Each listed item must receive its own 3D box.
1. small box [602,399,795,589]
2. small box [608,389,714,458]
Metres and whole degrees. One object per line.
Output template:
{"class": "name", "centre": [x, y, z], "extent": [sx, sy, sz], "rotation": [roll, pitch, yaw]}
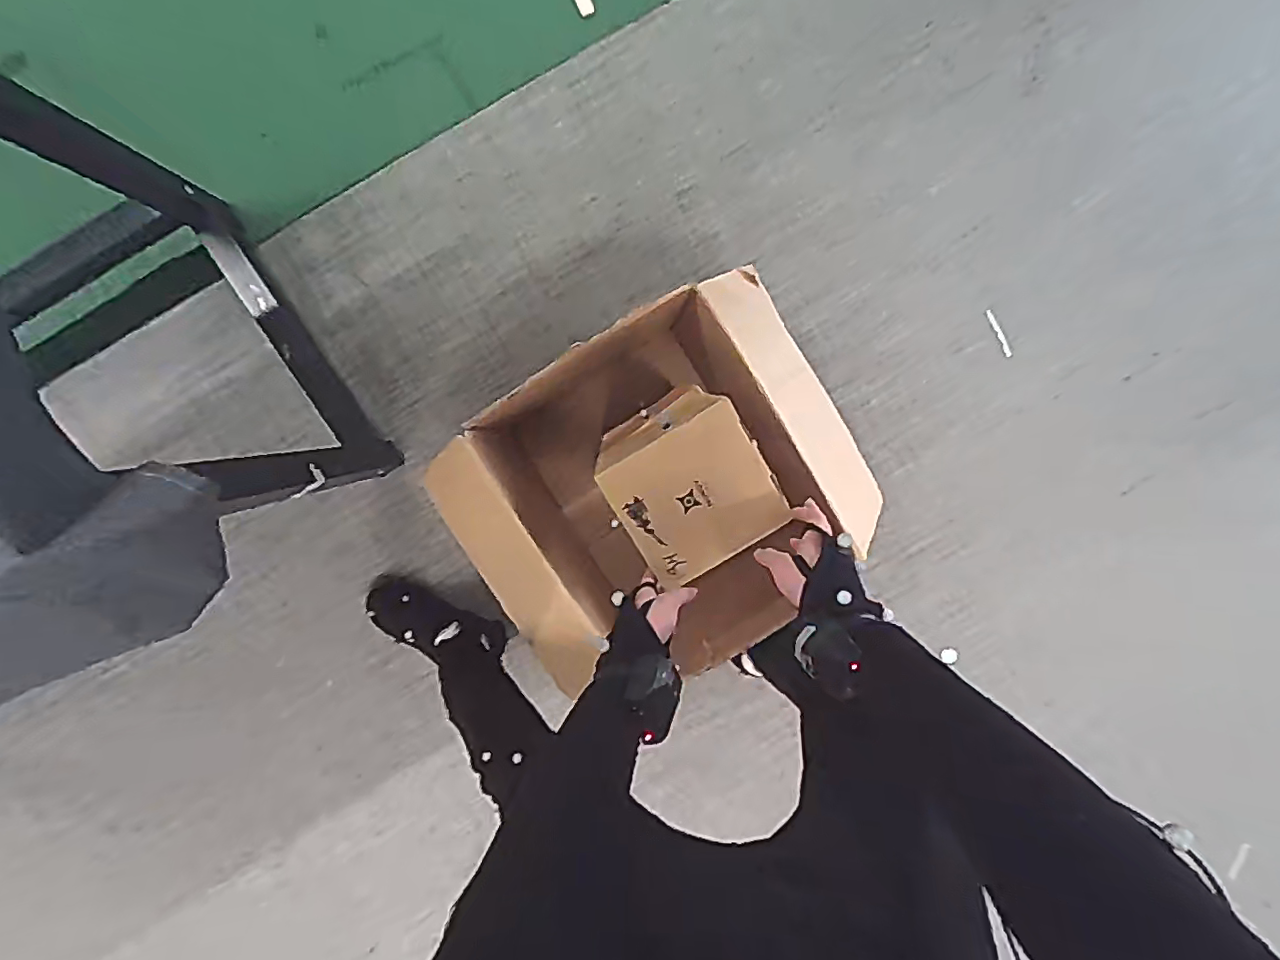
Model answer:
{"class": "small box", "centre": [0.064, 0.005, 0.696], "extent": [0.179, 0.176, 0.168], "rotation": [-30, 100, 3]}
{"class": "small box", "centre": [0.061, -0.028, 0.842], "extent": [0.179, 0.176, 0.168], "rotation": [-37, 99, 3]}
